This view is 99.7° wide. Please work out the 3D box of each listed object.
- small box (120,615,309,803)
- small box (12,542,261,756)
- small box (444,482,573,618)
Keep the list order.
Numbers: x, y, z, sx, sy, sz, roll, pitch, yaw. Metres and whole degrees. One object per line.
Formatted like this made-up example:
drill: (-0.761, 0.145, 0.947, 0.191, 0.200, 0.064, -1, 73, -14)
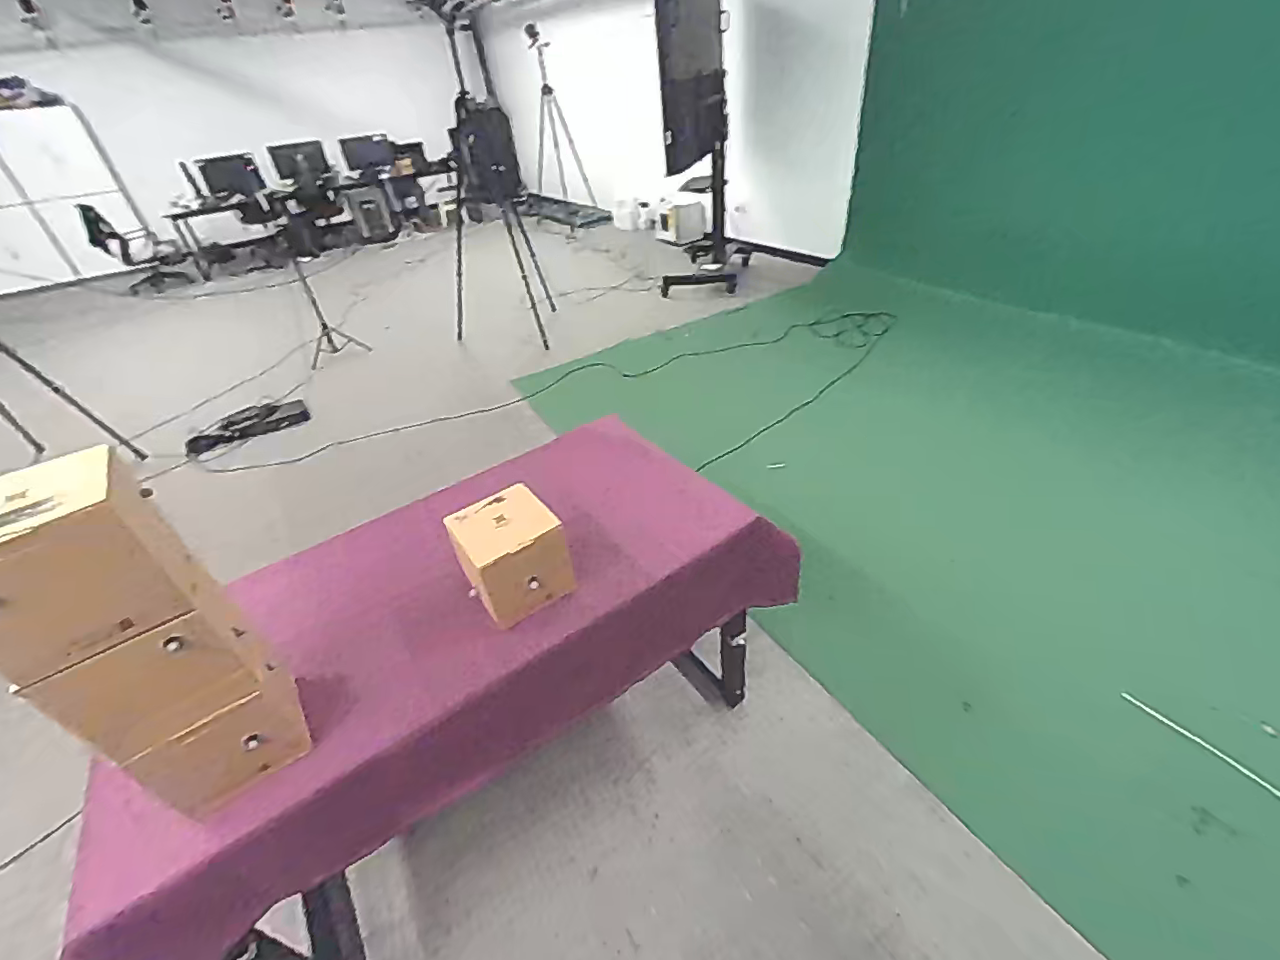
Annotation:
small box: (-0.631, 0.348, 0.817, 0.168, 0.176, 0.179, -27, 41, -27)
small box: (-0.649, 0.221, 0.718, 0.179, 0.176, 0.168, -28, 42, -29)
small box: (-0.246, 0.138, 1.036, 0.168, 0.176, 0.179, -27, 42, -25)
